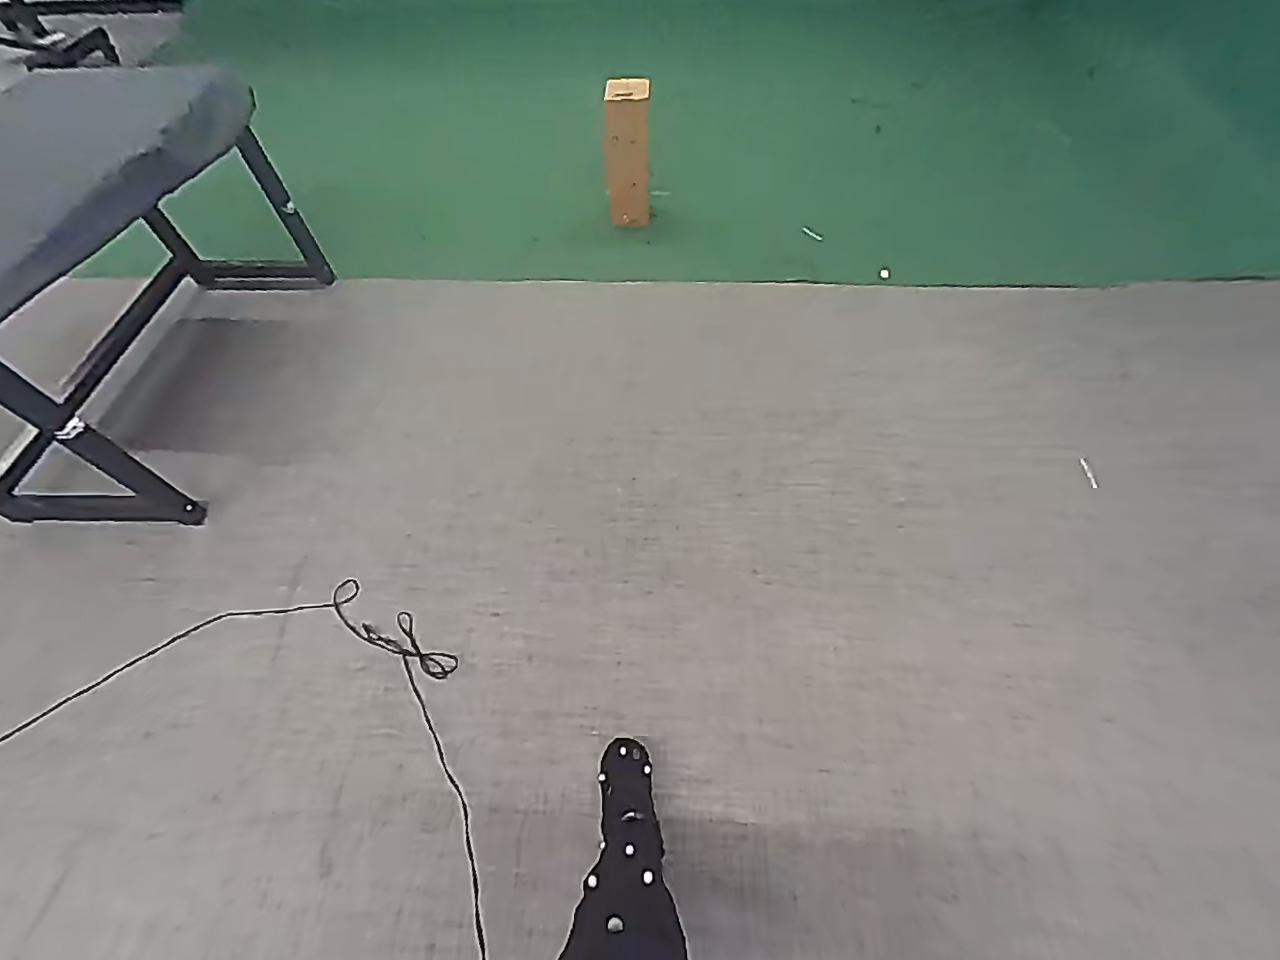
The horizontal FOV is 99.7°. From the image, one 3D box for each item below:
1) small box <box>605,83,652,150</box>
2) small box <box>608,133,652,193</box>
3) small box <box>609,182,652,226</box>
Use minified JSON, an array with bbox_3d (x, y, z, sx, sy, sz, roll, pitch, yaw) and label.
[{"bbox_3d":[-0.041,-1.408,2.100,0.168,0.176,0.179,1,56,3],"label":"small box"},{"bbox_3d":[-0.037,-1.315,2.237,0.168,0.176,0.179,2,56,4],"label":"small box"},{"bbox_3d":[-0.037,-1.234,2.357,0.168,0.176,0.179,2,57,5],"label":"small box"}]
